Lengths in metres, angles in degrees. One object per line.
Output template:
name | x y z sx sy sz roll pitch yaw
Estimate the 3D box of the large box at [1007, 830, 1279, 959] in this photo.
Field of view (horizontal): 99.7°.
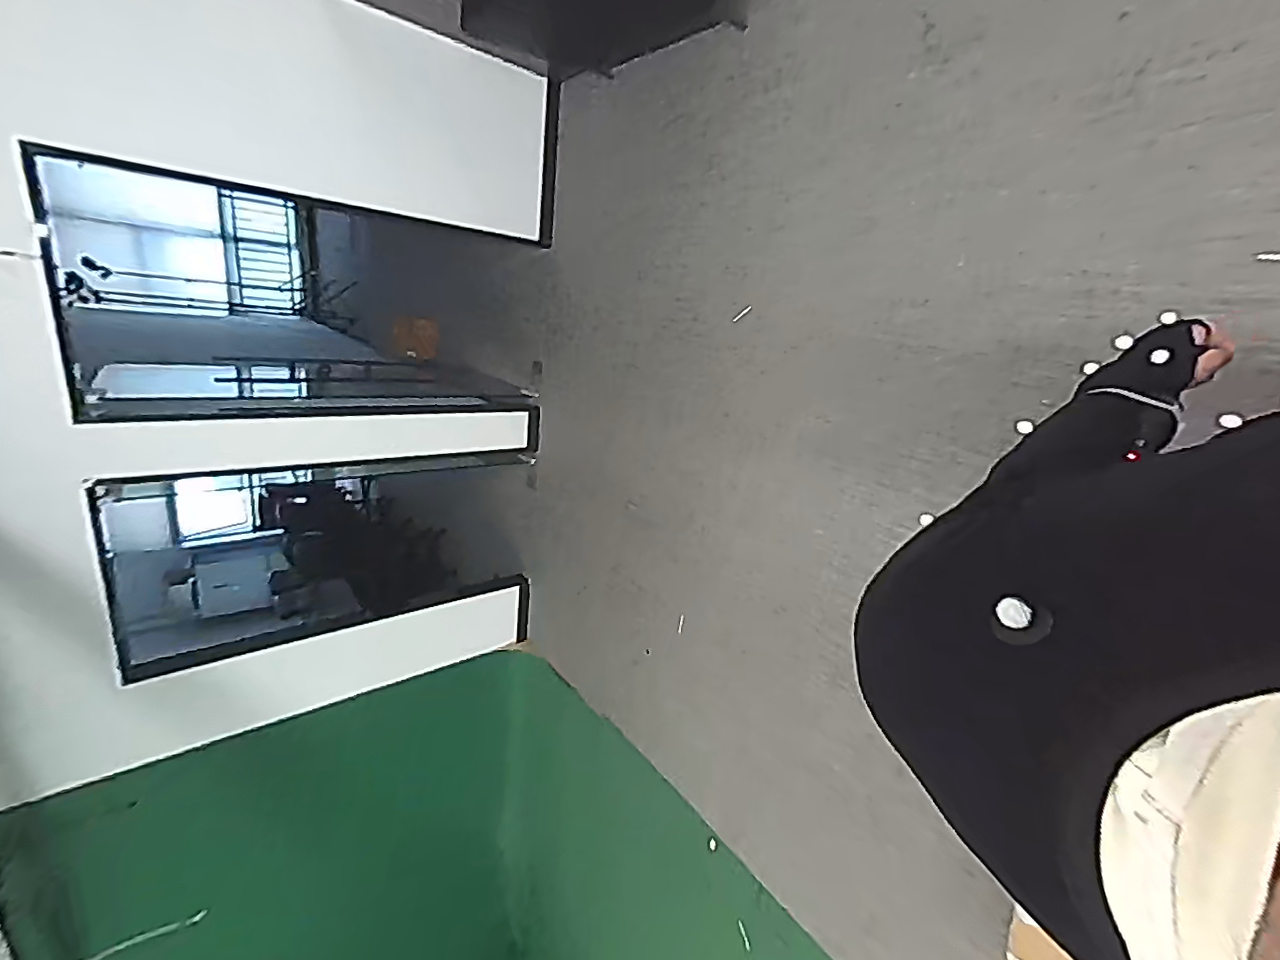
large box | 1.133 1.127 1.238 0.408 0.320 0.320 15 107 50
